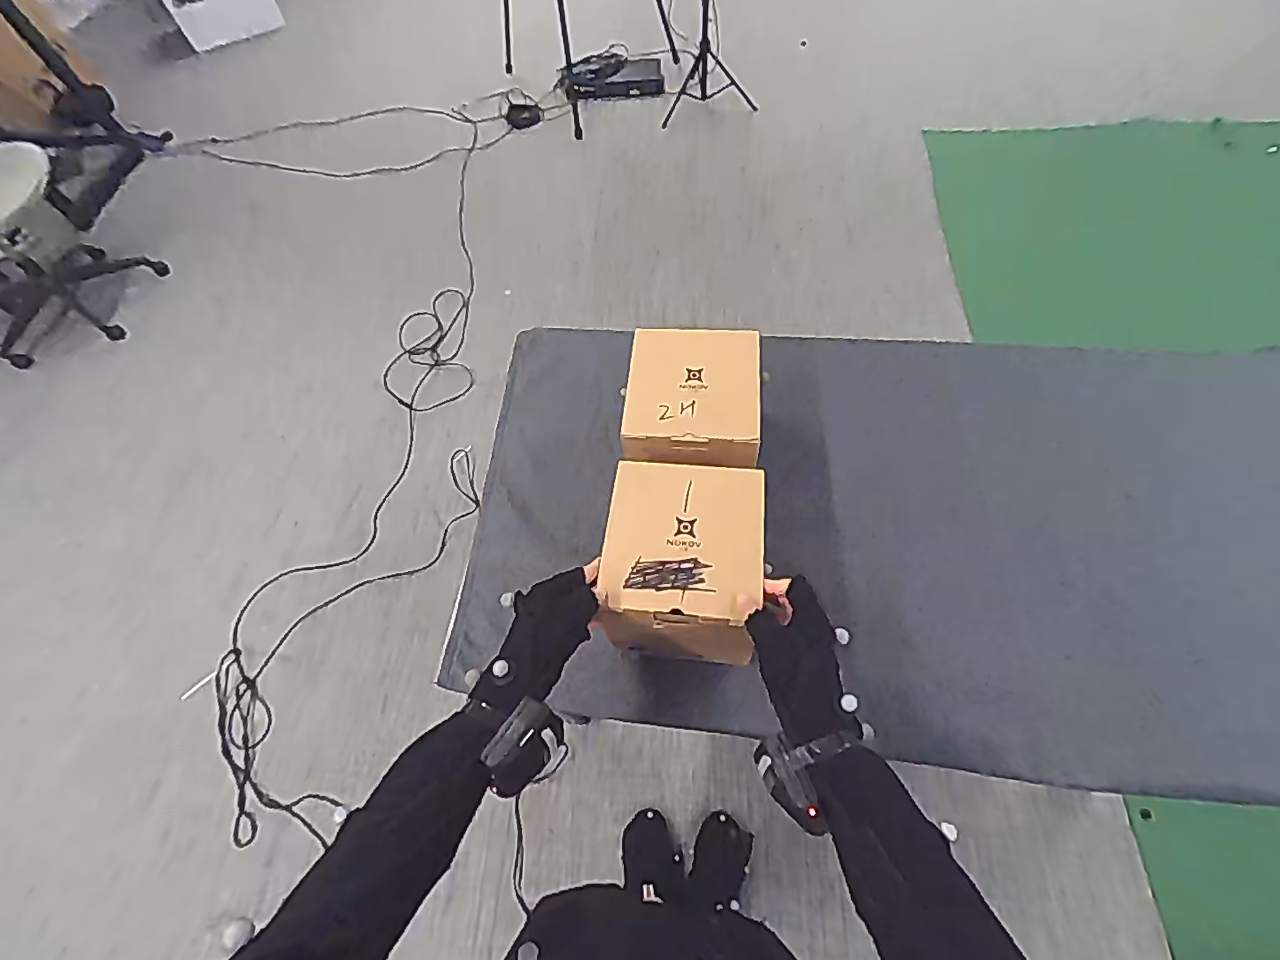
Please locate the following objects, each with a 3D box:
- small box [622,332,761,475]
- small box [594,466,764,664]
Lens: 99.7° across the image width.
[{"bbox_3d":[0.073,-0.079,0.745,0.168,0.176,0.179,3,61,7],"label":"small box"},{"bbox_3d":[0.052,0.105,0.632,0.168,0.176,0.179,4,58,8],"label":"small box"}]
